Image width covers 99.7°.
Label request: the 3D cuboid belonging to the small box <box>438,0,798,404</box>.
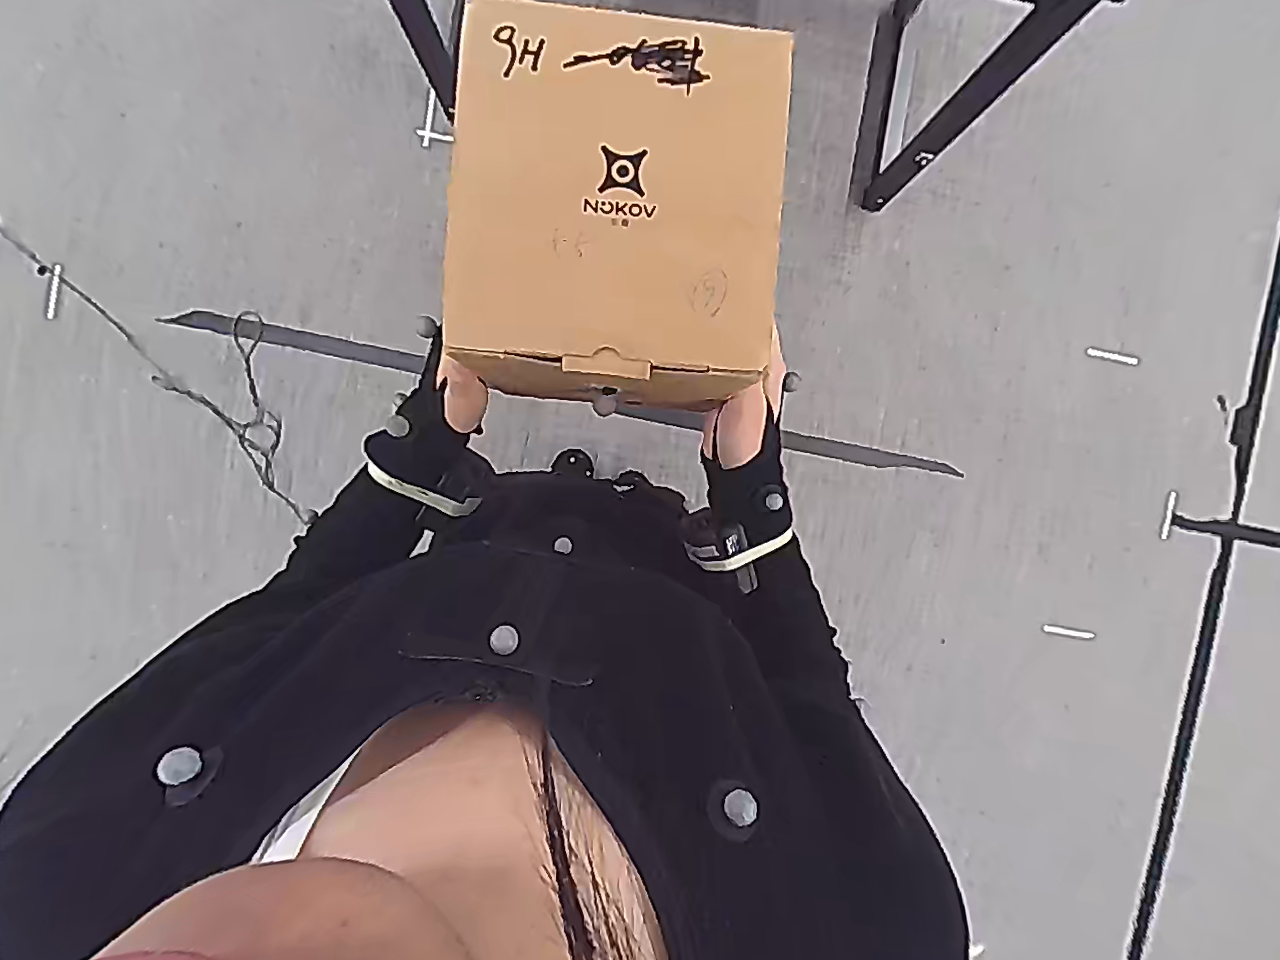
[{"bbox_3d":[-0.015,-0.145,0.342,0.168,0.176,0.179,4,92,-4],"label":"small box"}]
